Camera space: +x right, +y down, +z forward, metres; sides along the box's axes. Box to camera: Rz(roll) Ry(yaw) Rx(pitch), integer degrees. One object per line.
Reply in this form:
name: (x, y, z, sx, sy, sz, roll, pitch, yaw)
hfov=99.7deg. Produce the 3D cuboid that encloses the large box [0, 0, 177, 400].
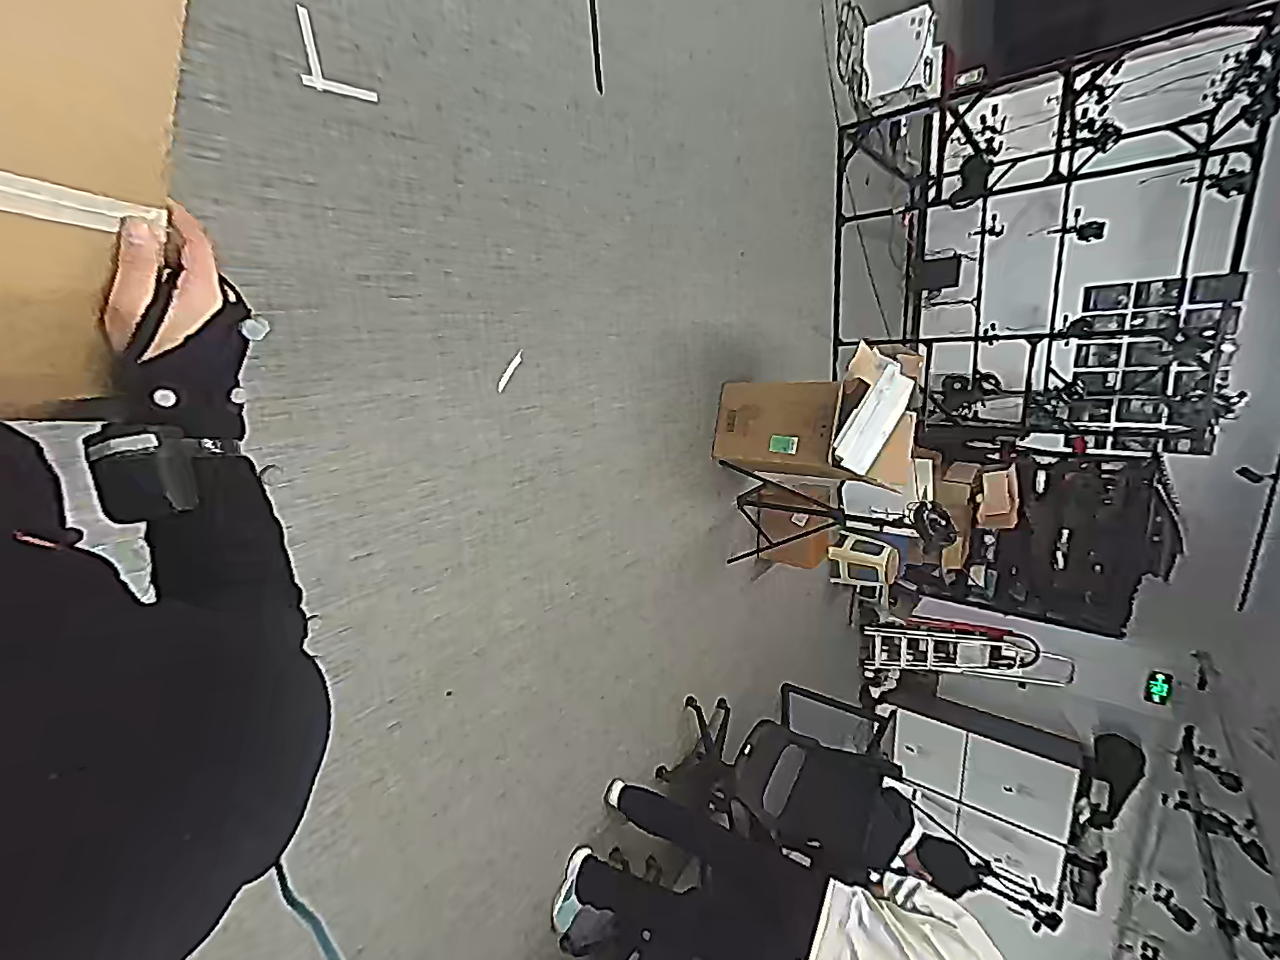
large box: (-0.535, -0.253, 0.258, 0.408, 0.320, 0.320, -9, 138, -54)
